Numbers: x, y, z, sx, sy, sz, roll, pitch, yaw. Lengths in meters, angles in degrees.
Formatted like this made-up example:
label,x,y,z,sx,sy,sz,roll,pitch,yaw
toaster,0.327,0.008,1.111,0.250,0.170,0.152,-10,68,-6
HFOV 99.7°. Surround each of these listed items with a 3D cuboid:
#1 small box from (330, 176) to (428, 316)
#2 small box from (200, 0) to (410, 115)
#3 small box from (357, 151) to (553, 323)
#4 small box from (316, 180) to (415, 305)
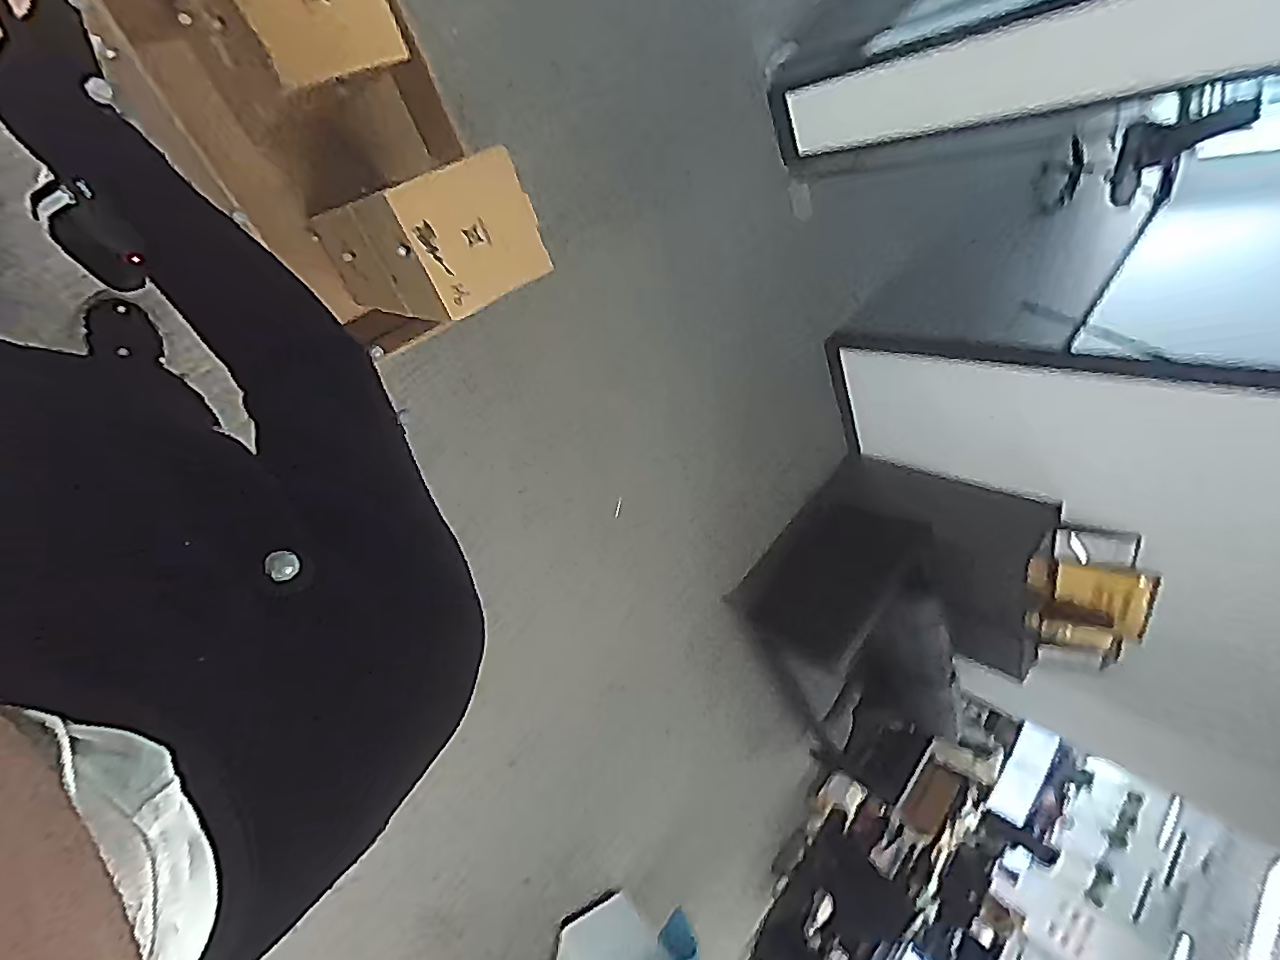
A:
label,x,y,z,sx,sy,sz,roll,pitch,yaw
small box,-0.366,-0.385,0.883,0.179,0.176,0.168,-38,127,-24
small box,-0.451,-0.615,0.721,0.179,0.176,0.168,-38,128,-25
small box,-0.261,-0.339,0.765,0.179,0.176,0.168,-39,127,-25
small box,-0.467,-0.433,1.001,0.179,0.176,0.168,-38,128,-25
